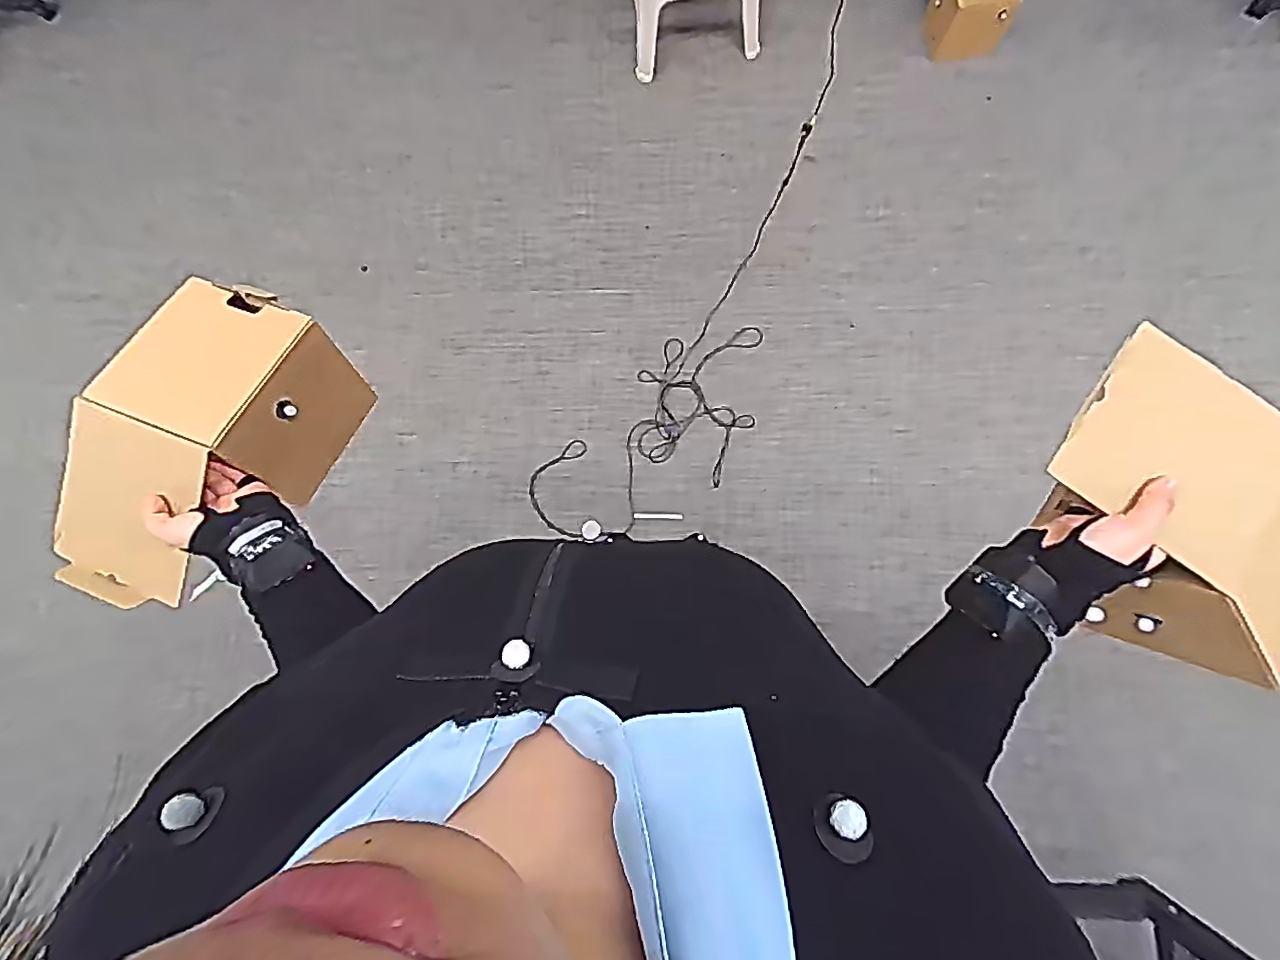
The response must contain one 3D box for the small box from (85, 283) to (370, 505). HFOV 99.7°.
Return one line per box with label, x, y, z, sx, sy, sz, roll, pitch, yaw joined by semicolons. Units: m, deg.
small box;-0.463;-0.093;0.645;0.168;0.176;0.179;20;66;8
